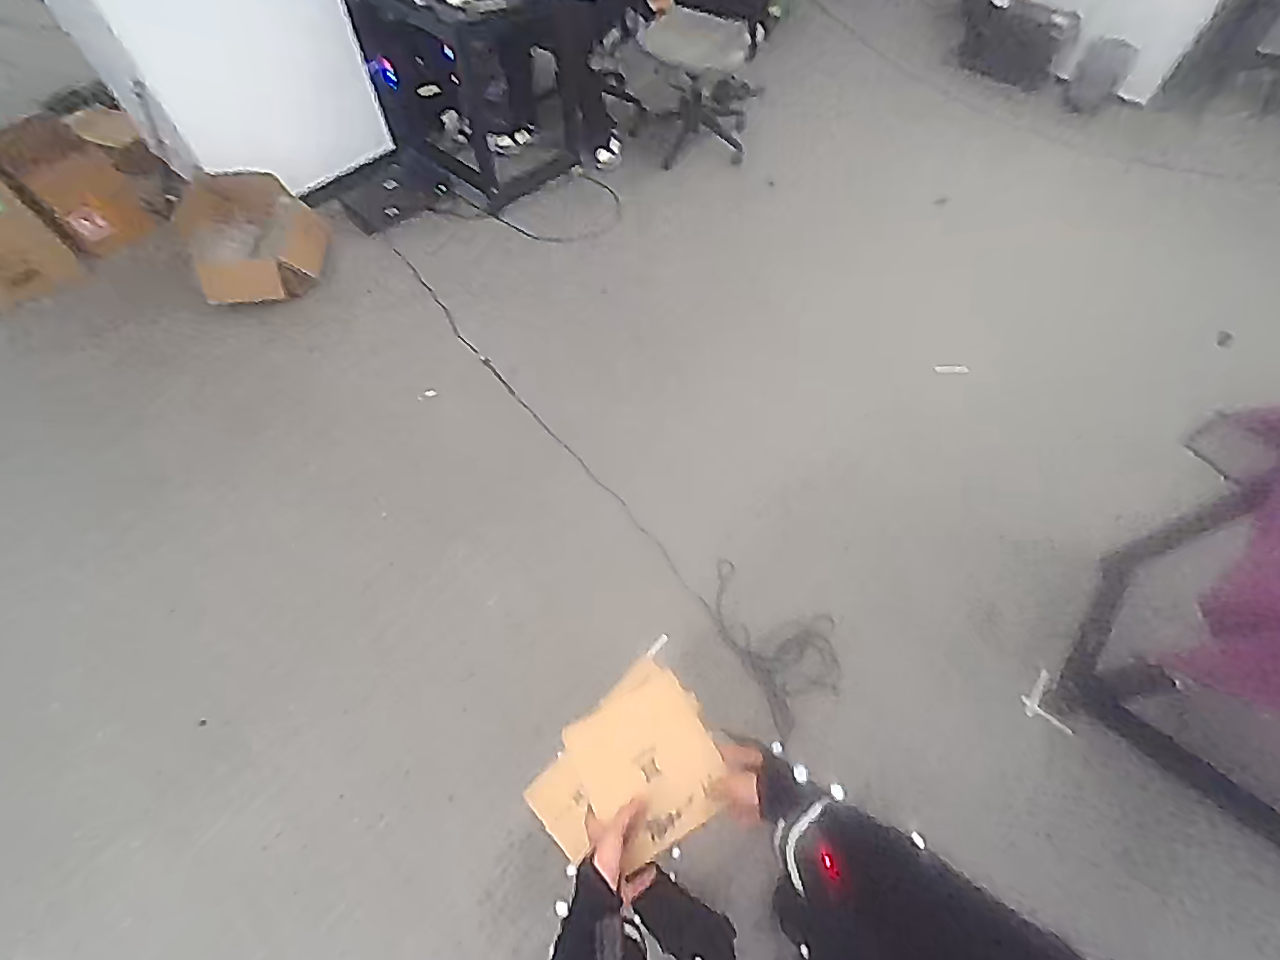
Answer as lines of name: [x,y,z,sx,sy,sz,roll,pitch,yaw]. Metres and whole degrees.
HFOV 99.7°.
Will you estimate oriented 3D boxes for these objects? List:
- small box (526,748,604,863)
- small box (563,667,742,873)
small box: [-0.112,0.657,1.140,0.179,0.176,0.168,-41,68,-19]
small box: [0.018,0.388,0.727,0.168,0.176,0.179,-28,58,-10]
